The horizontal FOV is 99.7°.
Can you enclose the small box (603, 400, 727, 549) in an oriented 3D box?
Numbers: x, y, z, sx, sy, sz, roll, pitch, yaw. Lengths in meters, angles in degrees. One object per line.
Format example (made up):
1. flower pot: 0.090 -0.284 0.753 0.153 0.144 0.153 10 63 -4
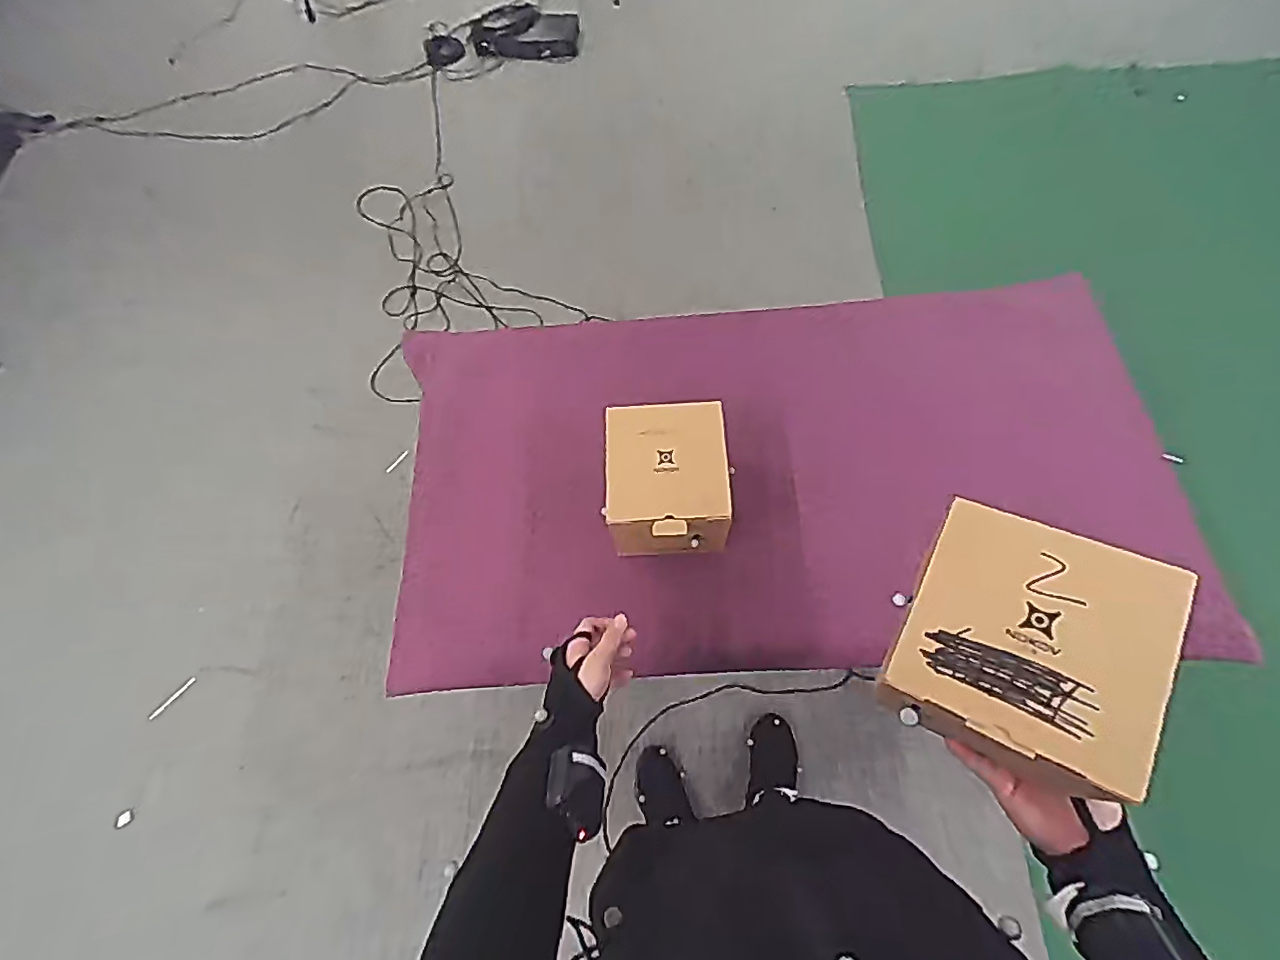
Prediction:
1. small box: 0.037 0.001 0.806 0.168 0.176 0.179 -2 67 3
